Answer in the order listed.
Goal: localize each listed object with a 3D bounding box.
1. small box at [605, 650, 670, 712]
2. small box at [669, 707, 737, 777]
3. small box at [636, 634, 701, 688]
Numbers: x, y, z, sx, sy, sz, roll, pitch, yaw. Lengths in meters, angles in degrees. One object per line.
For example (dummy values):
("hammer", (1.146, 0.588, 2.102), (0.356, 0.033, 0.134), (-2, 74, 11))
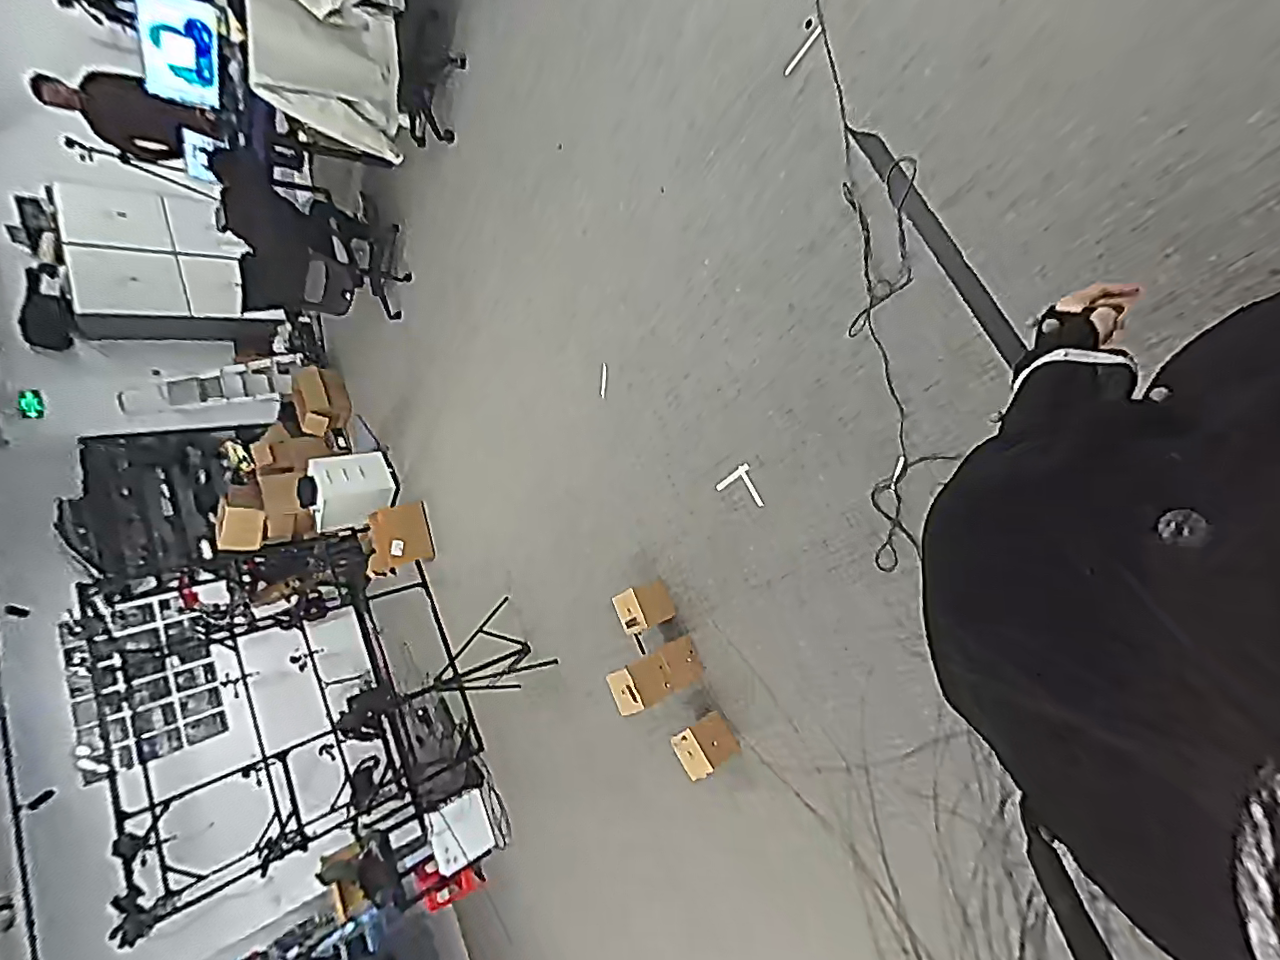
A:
("small box", (-0.003, 0.795, 2.147), (0.179, 0.176, 0.168), (-41, 69, 46))
("small box", (0.257, 1.051, 2.176), (0.179, 0.176, 0.168), (55, 134, 22))
("small box", (0.121, 0.760, 2.248), (0.179, 0.176, 0.168), (-36, 73, 46))
